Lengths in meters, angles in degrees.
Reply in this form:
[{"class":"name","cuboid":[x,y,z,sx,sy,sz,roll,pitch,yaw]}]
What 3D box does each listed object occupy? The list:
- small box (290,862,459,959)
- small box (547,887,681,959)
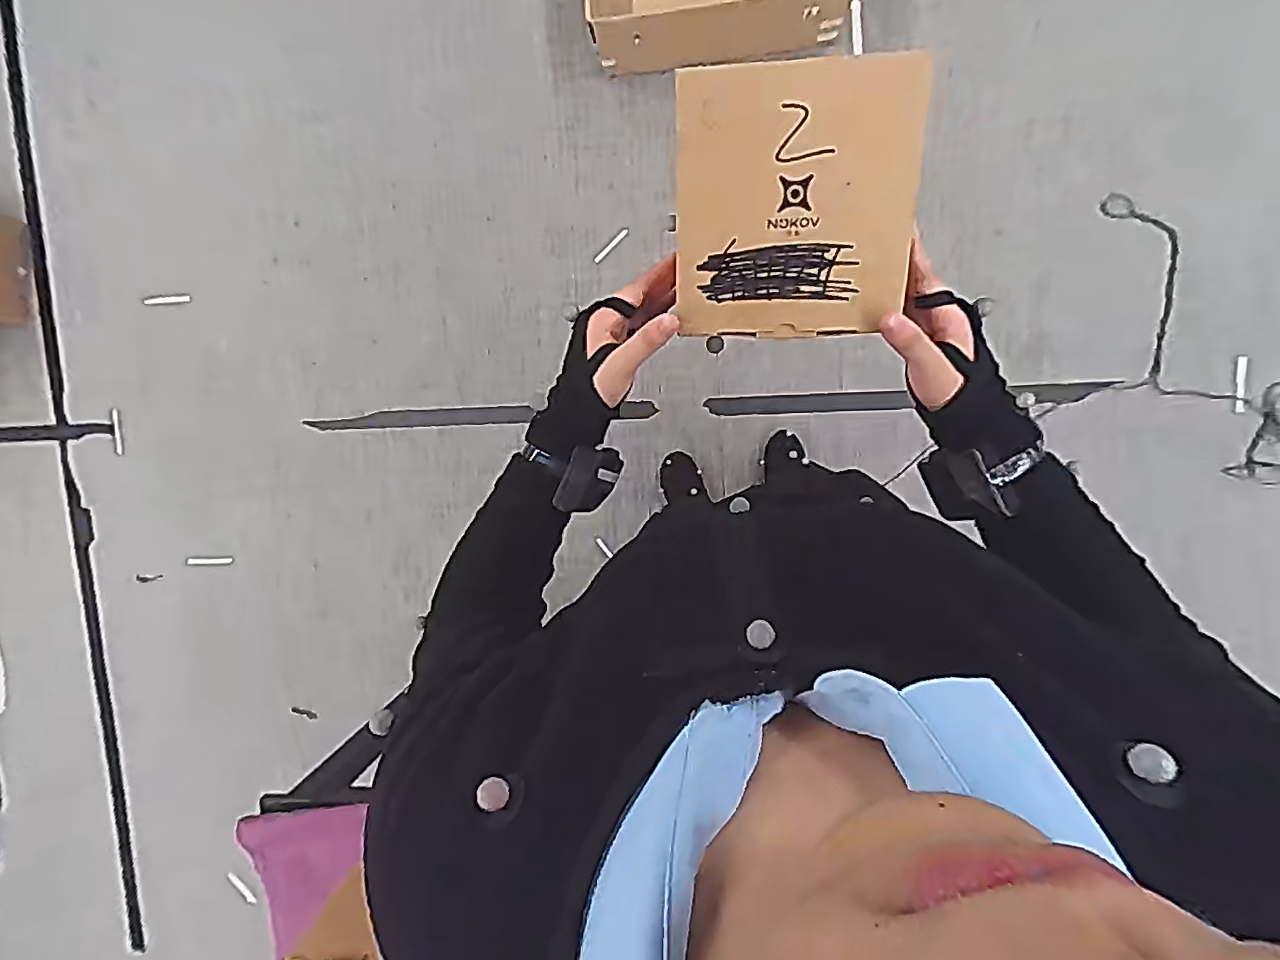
[{"class":"small box","cuboid":[-0.377,0.713,0.793,0.168,0.176,0.179,1,96,6]},{"class":"small box","cuboid":[-0.034,0.710,0.755,0.168,0.176,0.179,-12,94,8]}]
